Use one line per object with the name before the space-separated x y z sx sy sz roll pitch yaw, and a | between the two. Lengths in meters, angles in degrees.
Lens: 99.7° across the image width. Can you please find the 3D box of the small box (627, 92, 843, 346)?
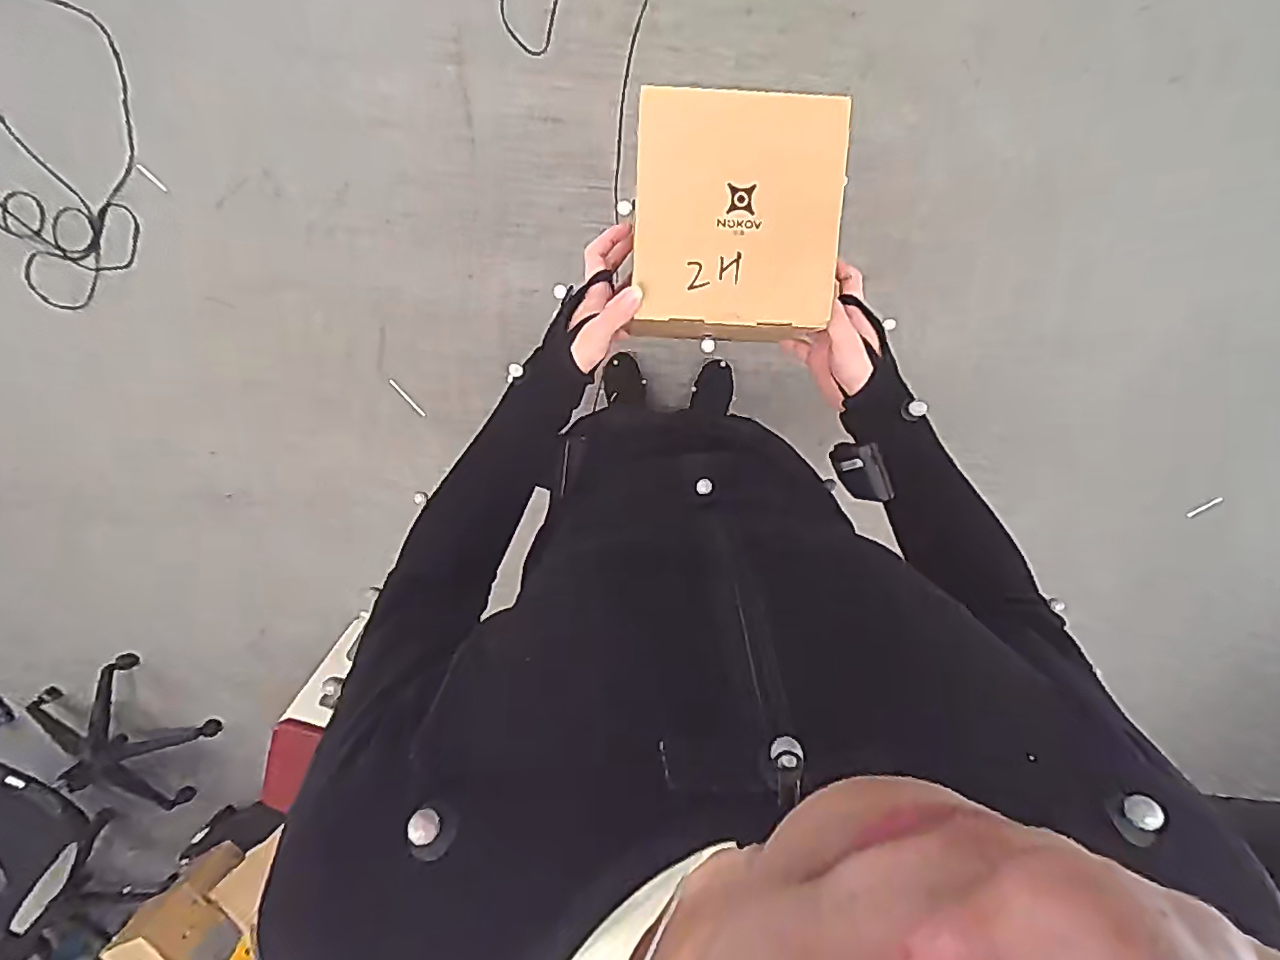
small box | 0.074 -0.229 0.520 0.168 0.176 0.179 3 101 -2
